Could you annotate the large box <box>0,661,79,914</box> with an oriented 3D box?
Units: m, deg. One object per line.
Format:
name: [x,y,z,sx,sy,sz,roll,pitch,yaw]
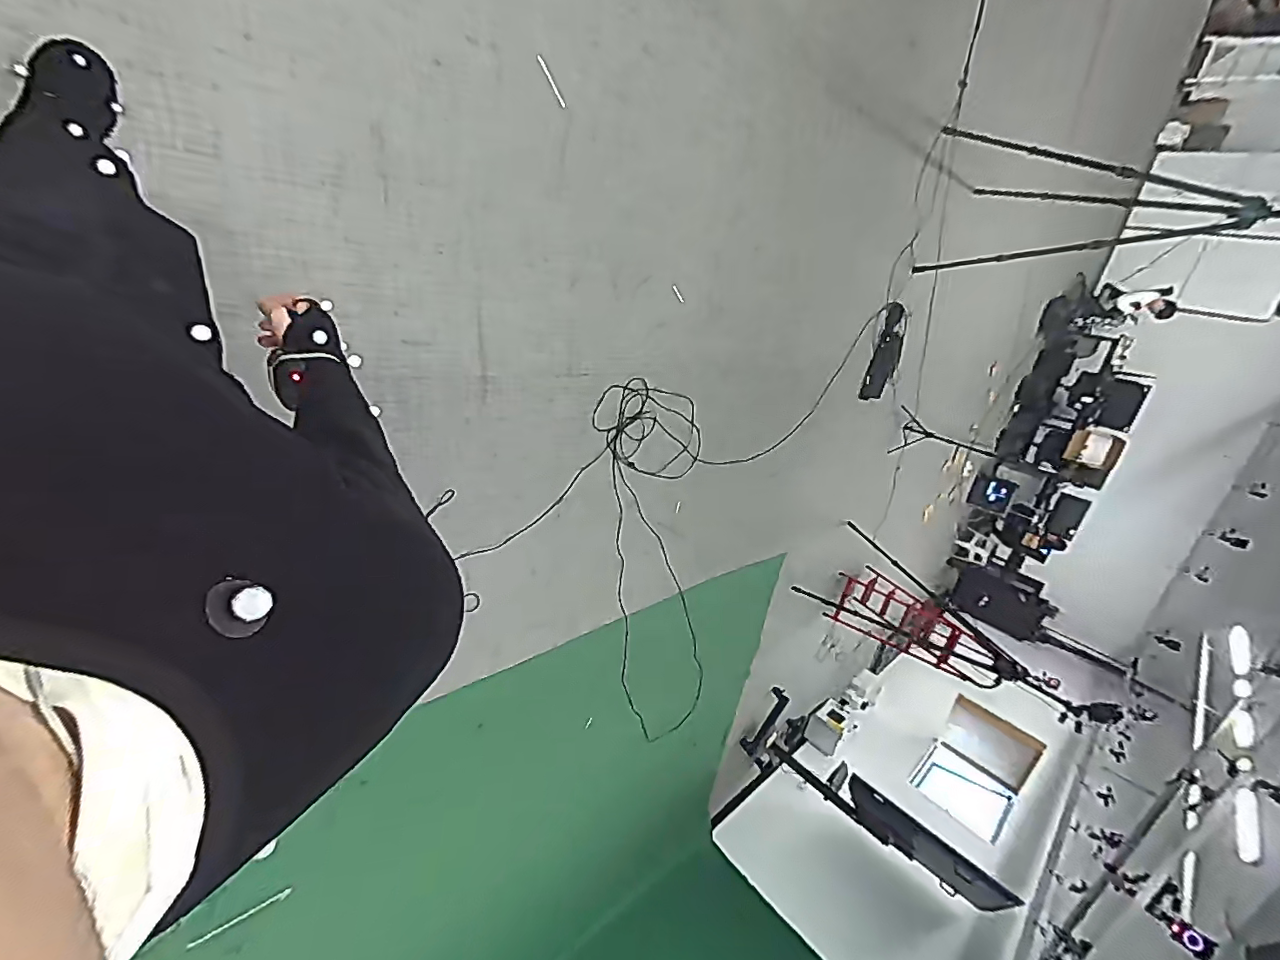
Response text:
large box: [-1.320,0.587,0.981,0.320,0.320,0.408,-20,126,-38]
